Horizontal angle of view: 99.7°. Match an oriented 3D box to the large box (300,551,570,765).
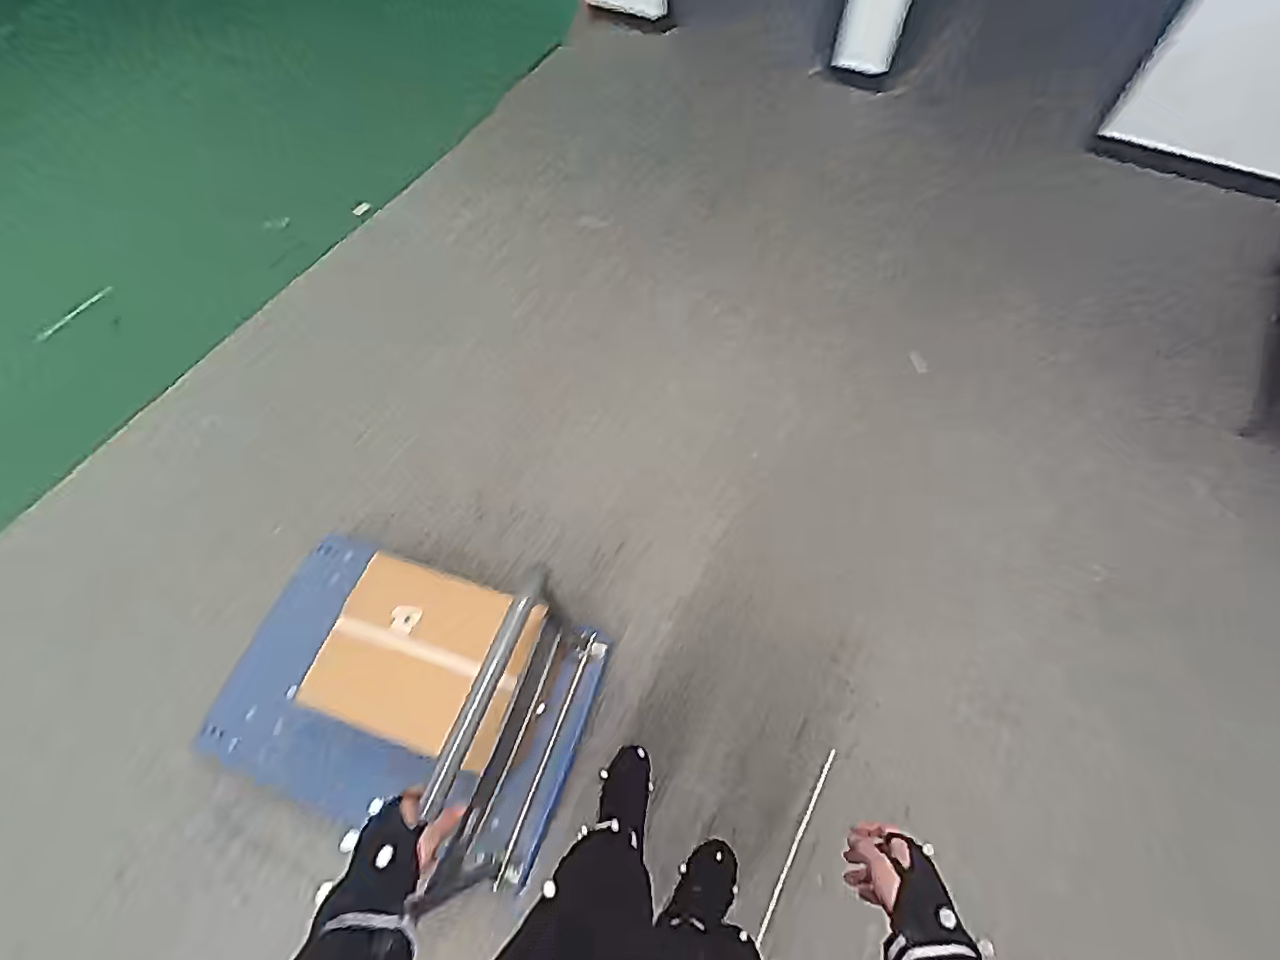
[{"bbox_3d":[-0.411,0.397,1.194,0.408,0.320,0.320,16,65,10],"label":"large box"}]
